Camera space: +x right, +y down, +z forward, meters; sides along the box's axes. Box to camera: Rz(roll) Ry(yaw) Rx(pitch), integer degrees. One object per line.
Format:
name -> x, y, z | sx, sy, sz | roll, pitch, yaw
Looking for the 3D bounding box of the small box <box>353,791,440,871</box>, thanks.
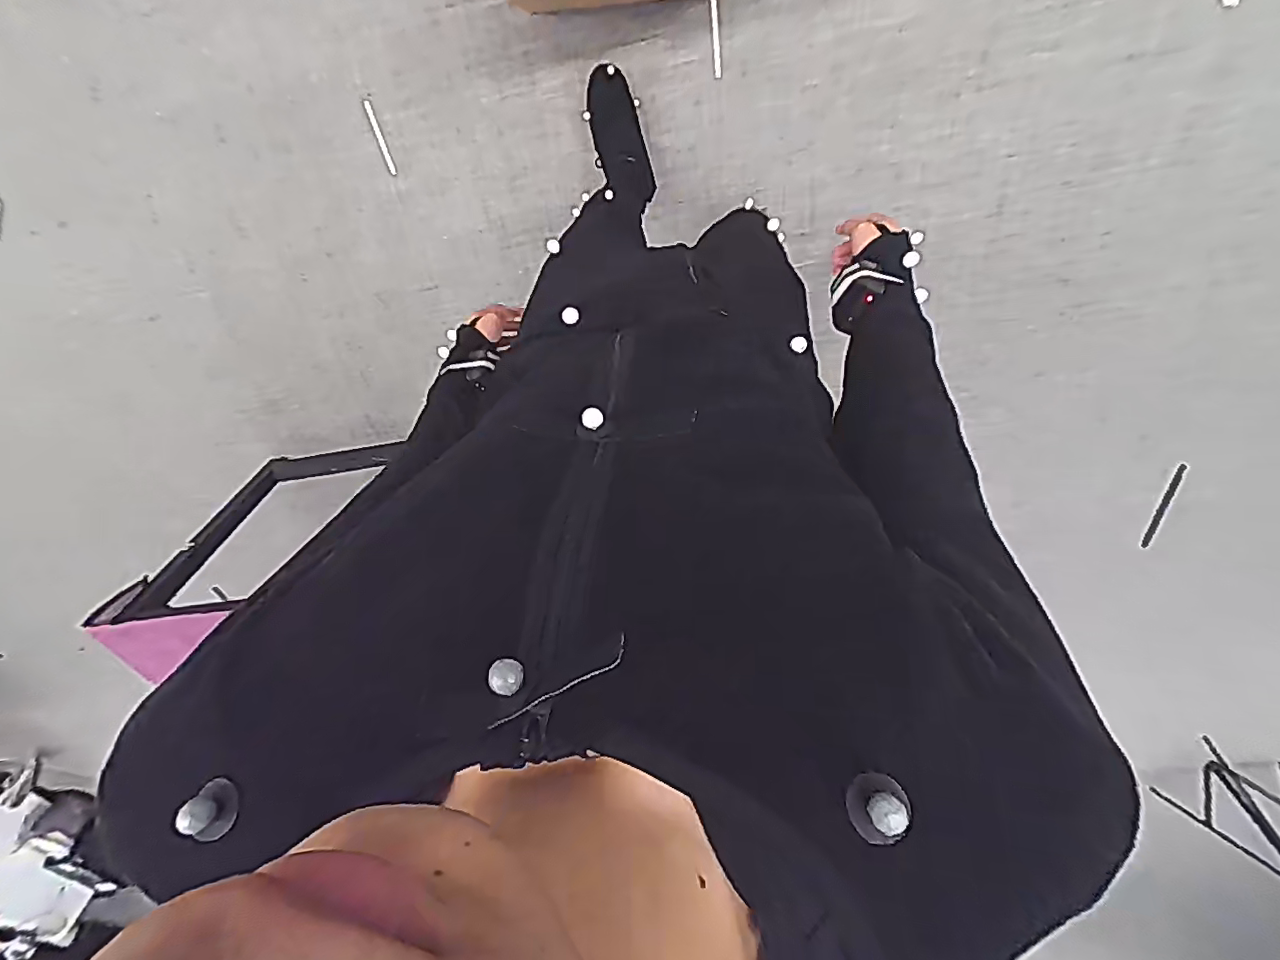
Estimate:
small box -> -0.767, 1.120, 1.730 | 0.179, 0.176, 0.168 | -14, 125, 13
